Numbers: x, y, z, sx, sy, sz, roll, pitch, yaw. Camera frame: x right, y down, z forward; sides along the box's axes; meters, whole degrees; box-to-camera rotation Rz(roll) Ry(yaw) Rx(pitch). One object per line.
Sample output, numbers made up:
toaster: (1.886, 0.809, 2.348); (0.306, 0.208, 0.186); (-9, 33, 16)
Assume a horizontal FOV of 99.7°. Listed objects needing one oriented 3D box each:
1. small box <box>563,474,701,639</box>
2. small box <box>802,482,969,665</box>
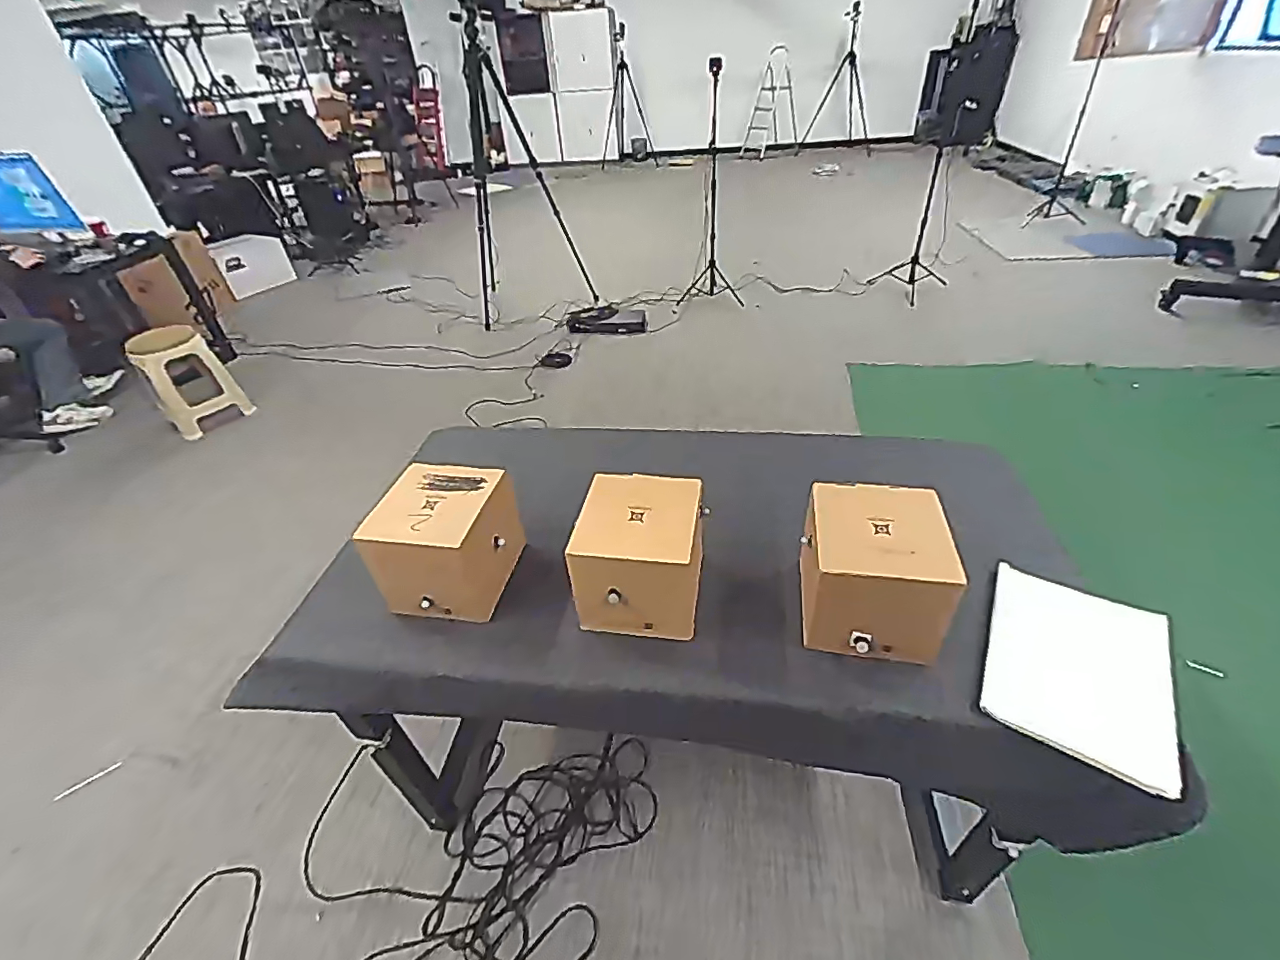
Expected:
small box: (0.001, 0.111, 0.794); (0.168, 0.176, 0.179); (3, 38, 10)
small box: (0.318, 0.124, 0.742); (0.168, 0.176, 0.179); (3, 40, 12)
